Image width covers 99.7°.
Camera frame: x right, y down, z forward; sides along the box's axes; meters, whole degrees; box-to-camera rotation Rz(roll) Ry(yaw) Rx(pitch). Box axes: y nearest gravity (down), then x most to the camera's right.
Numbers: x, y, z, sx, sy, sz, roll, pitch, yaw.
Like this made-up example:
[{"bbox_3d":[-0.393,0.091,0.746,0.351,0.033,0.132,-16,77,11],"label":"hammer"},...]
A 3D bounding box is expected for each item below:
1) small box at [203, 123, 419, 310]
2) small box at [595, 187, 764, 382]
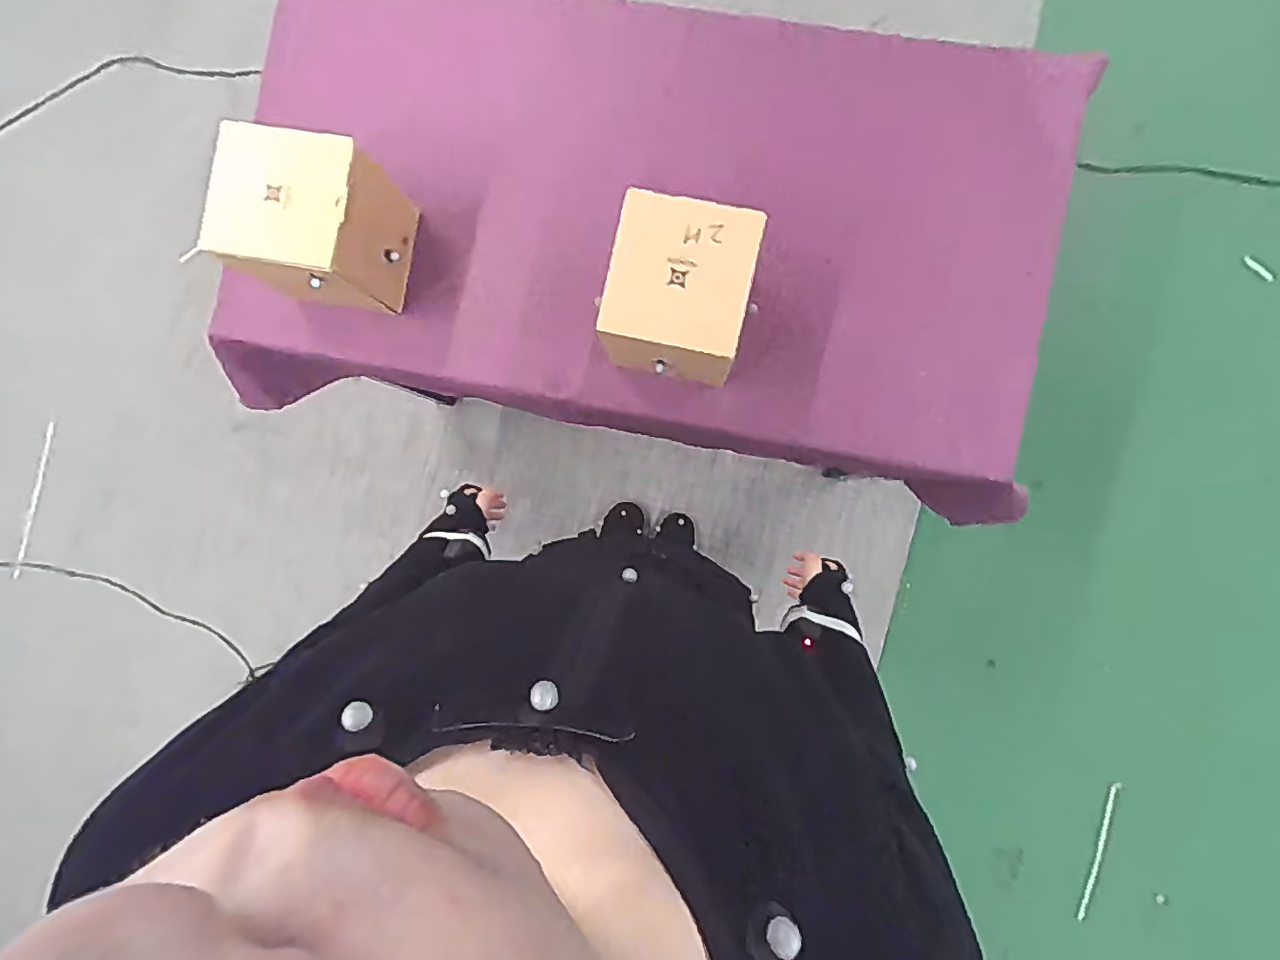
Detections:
[{"bbox_3d":[-0.438,-0.348,0.745,0.179,0.176,0.168,10,89,4],"label":"small box"},{"bbox_3d":[0.052,-0.238,0.704,0.168,0.176,0.179,13,89,4],"label":"small box"}]
